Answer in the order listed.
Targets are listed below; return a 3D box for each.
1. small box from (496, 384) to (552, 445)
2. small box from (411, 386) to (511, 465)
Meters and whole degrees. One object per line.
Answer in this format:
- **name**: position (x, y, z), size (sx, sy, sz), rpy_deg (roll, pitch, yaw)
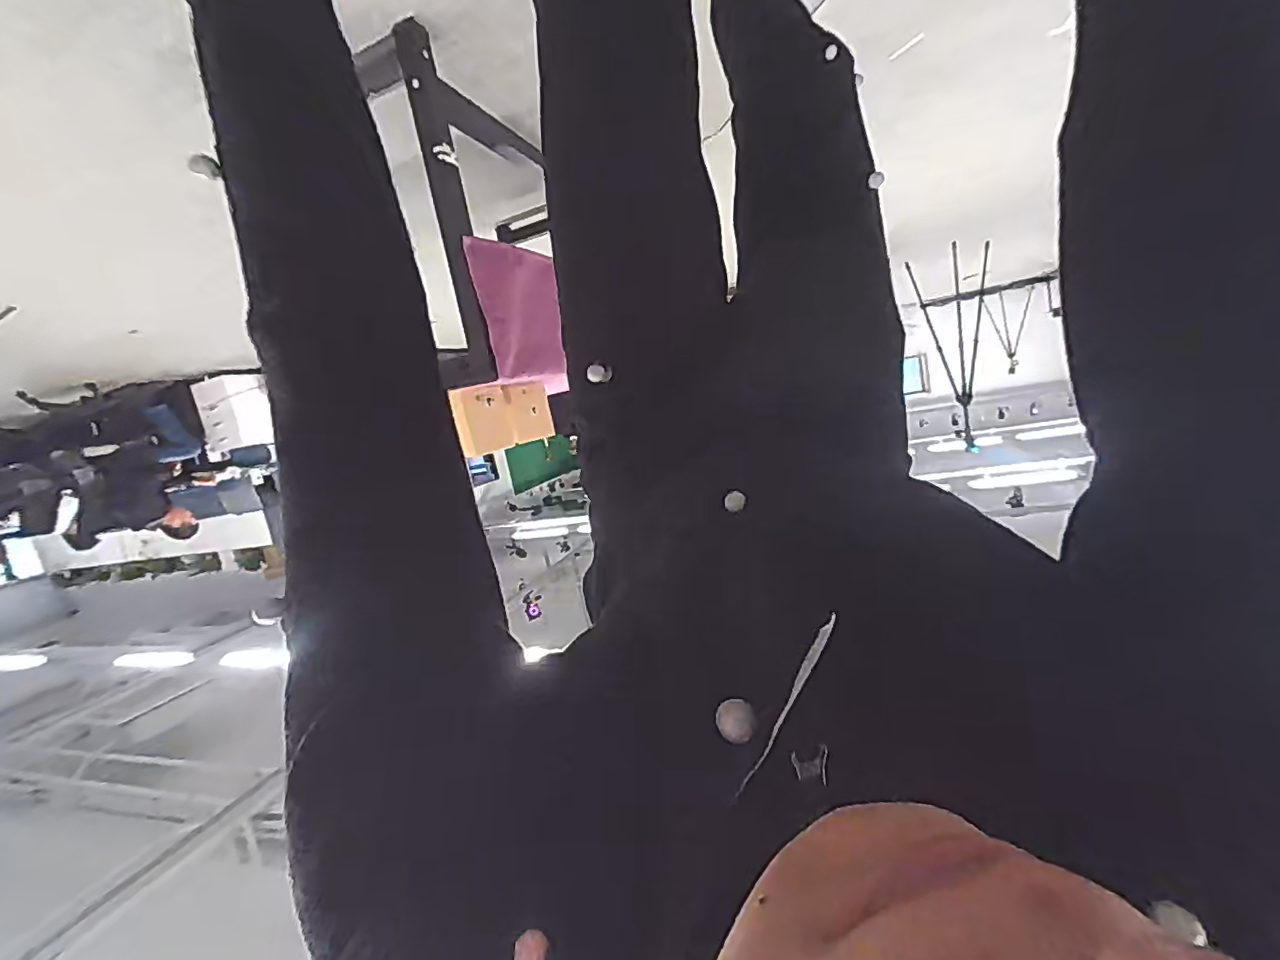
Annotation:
- **small box**: position (-0.400, -0.198, 1.656), size (0.179, 0.176, 0.168), rpy_deg (-6, -170, 29)
- **small box**: position (-0.464, -0.145, 1.396), size (0.179, 0.176, 0.168), rpy_deg (-7, -169, 23)
